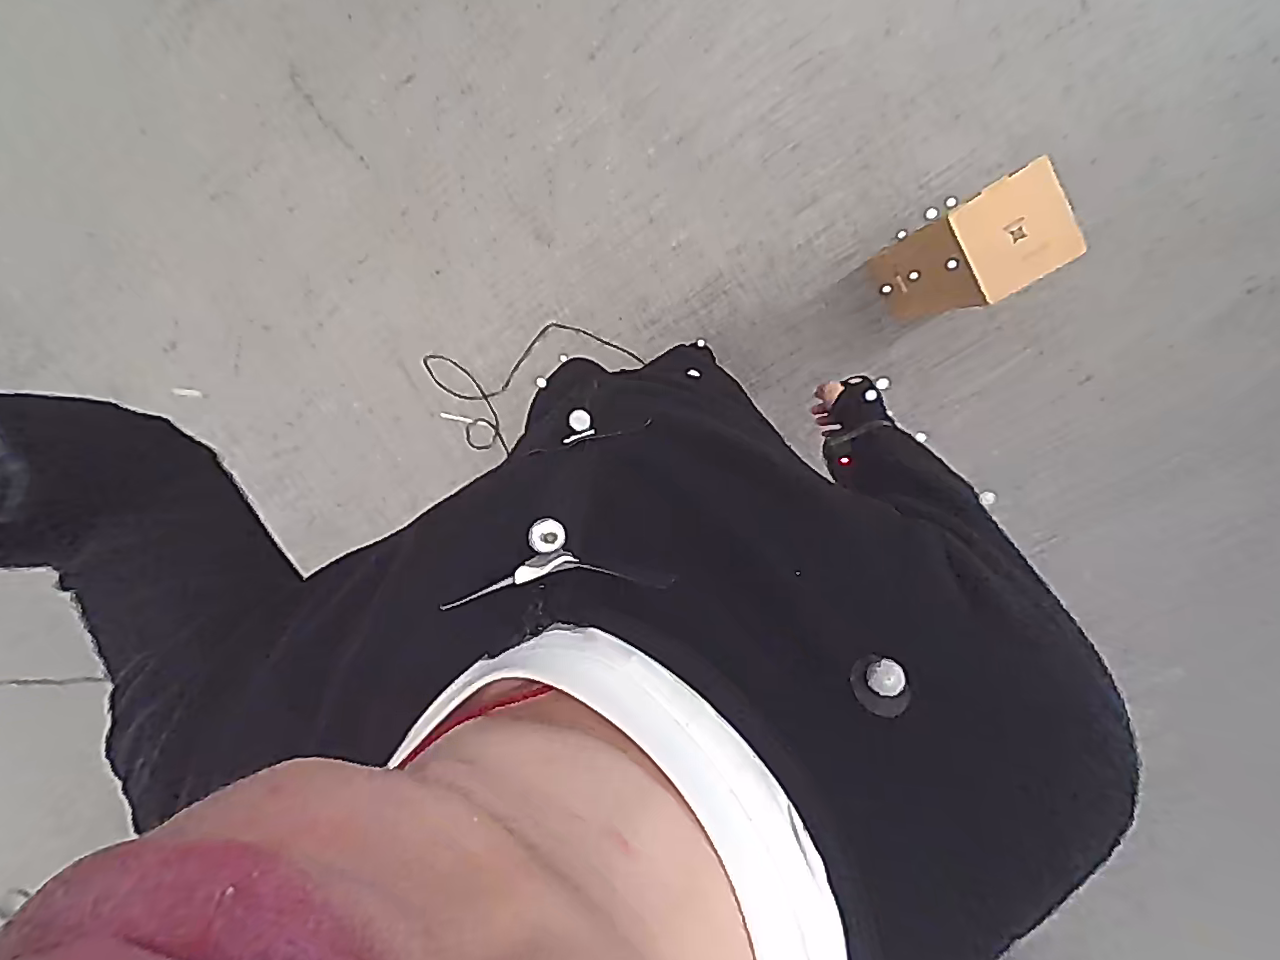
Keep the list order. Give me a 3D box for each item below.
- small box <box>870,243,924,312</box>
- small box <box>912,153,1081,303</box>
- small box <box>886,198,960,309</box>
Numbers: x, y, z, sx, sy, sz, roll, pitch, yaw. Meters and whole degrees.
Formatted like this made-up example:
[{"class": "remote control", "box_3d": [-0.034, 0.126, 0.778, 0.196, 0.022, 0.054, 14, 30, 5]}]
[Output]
[{"class": "small box", "box_3d": [0.673, -0.516, 1.289, 0.179, 0.176, 0.168, -30, 101, 13]}, {"class": "small box", "box_3d": [0.627, -0.437, 0.976, 0.168, 0.176, 0.179, -31, 101, 14]}, {"class": "small box", "box_3d": [0.651, -0.478, 1.130, 0.168, 0.176, 0.179, -31, 100, 13]}]
